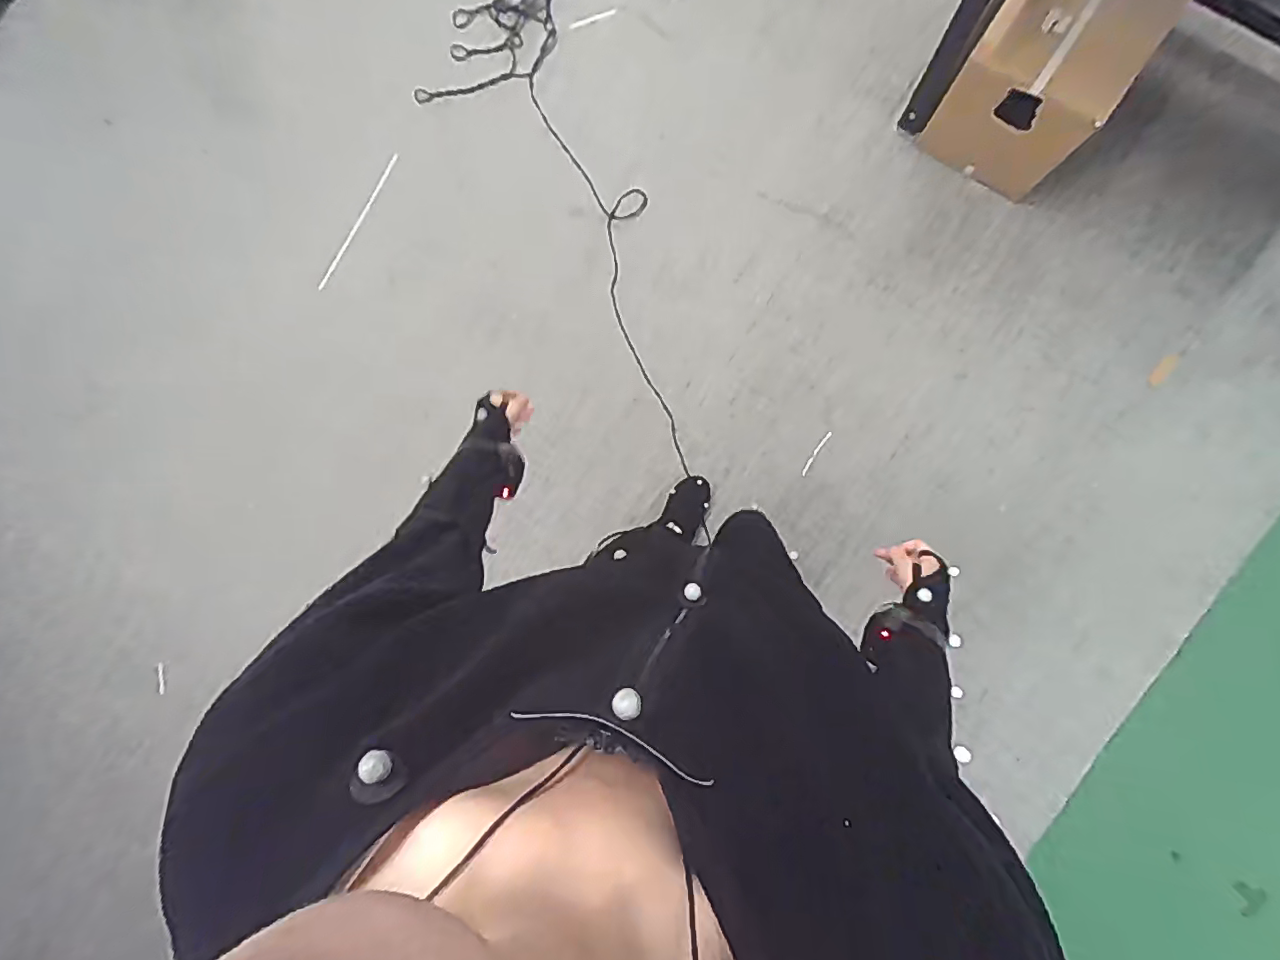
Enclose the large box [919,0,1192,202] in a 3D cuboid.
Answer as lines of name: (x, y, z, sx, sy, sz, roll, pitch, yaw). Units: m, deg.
large box: (0.947, -0.964, 1.258, 0.320, 0.320, 0.408, 34, 95, 7)
